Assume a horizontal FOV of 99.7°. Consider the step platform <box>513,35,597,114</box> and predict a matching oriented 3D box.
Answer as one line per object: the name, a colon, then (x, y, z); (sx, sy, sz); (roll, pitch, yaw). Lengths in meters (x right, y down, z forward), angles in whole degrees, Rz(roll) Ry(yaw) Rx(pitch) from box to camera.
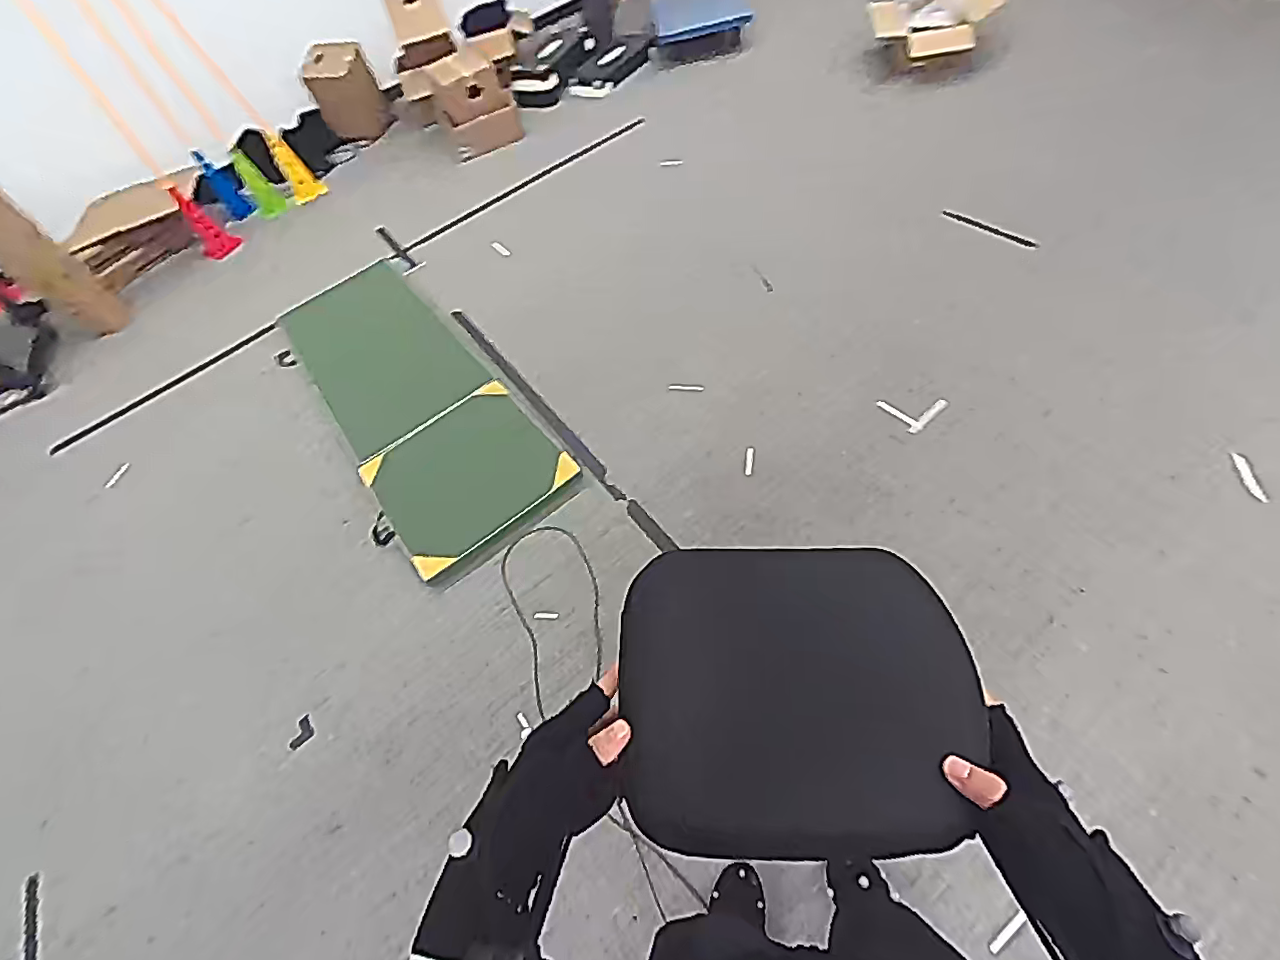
step platform: (-0.554, -2.681, 3.559); (0.286, 0.204, 0.684); (15, 62, 20)
